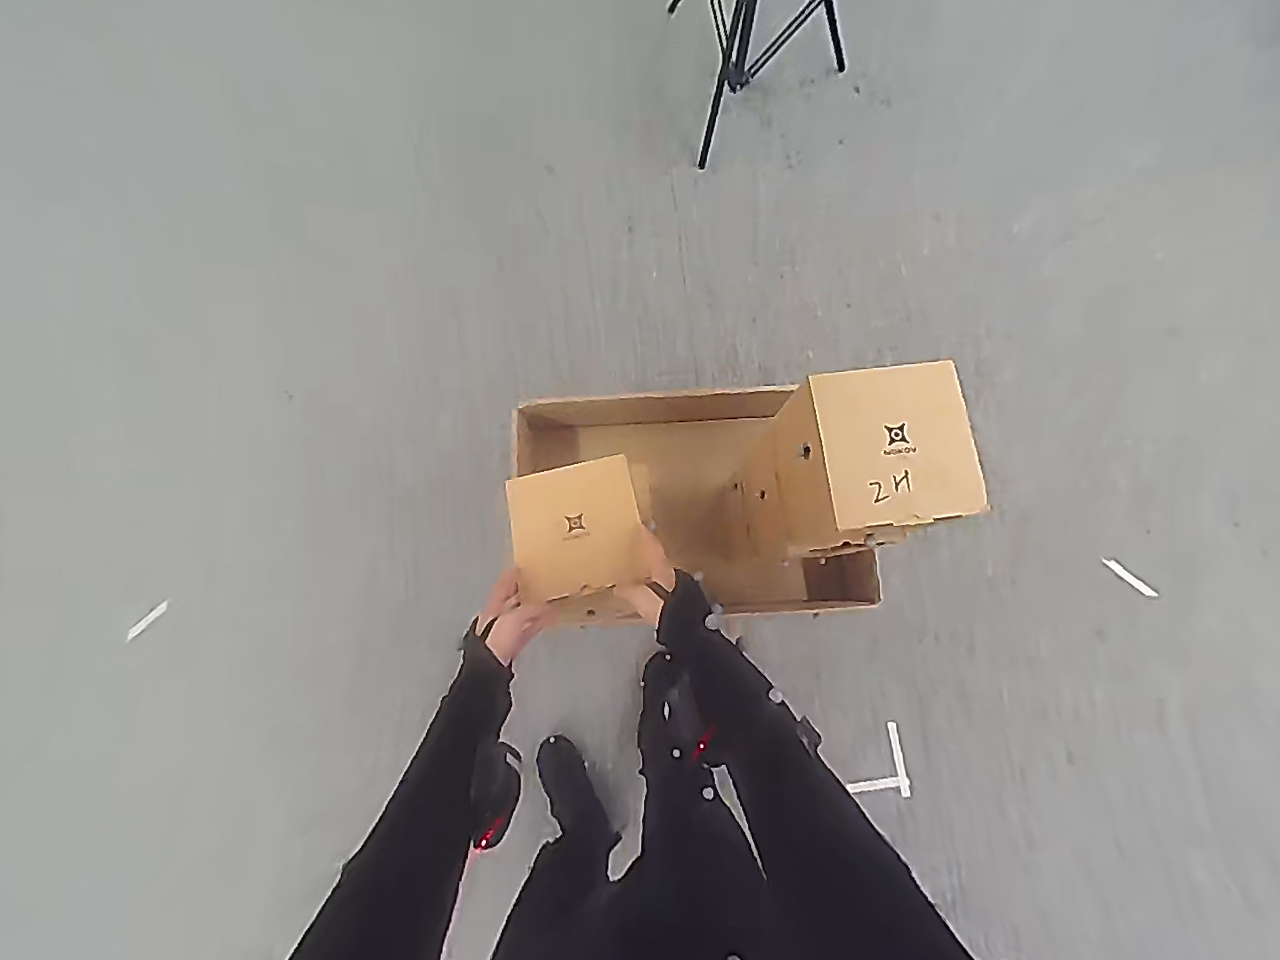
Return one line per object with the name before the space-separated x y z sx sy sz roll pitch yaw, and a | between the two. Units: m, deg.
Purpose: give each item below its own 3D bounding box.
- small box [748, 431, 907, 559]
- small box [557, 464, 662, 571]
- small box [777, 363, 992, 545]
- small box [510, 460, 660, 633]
small box | 0.267 0.024 0.810 0.168 0.176 0.179 -6 78 -2
small box | -0.054 0.082 0.968 0.168 0.176 0.179 -6 79 0
small box | 0.275 -0.021 0.652 0.168 0.176 0.179 -6 79 -1
small box | -0.071 0.098 0.747 0.168 0.176 0.179 -13 66 -2
